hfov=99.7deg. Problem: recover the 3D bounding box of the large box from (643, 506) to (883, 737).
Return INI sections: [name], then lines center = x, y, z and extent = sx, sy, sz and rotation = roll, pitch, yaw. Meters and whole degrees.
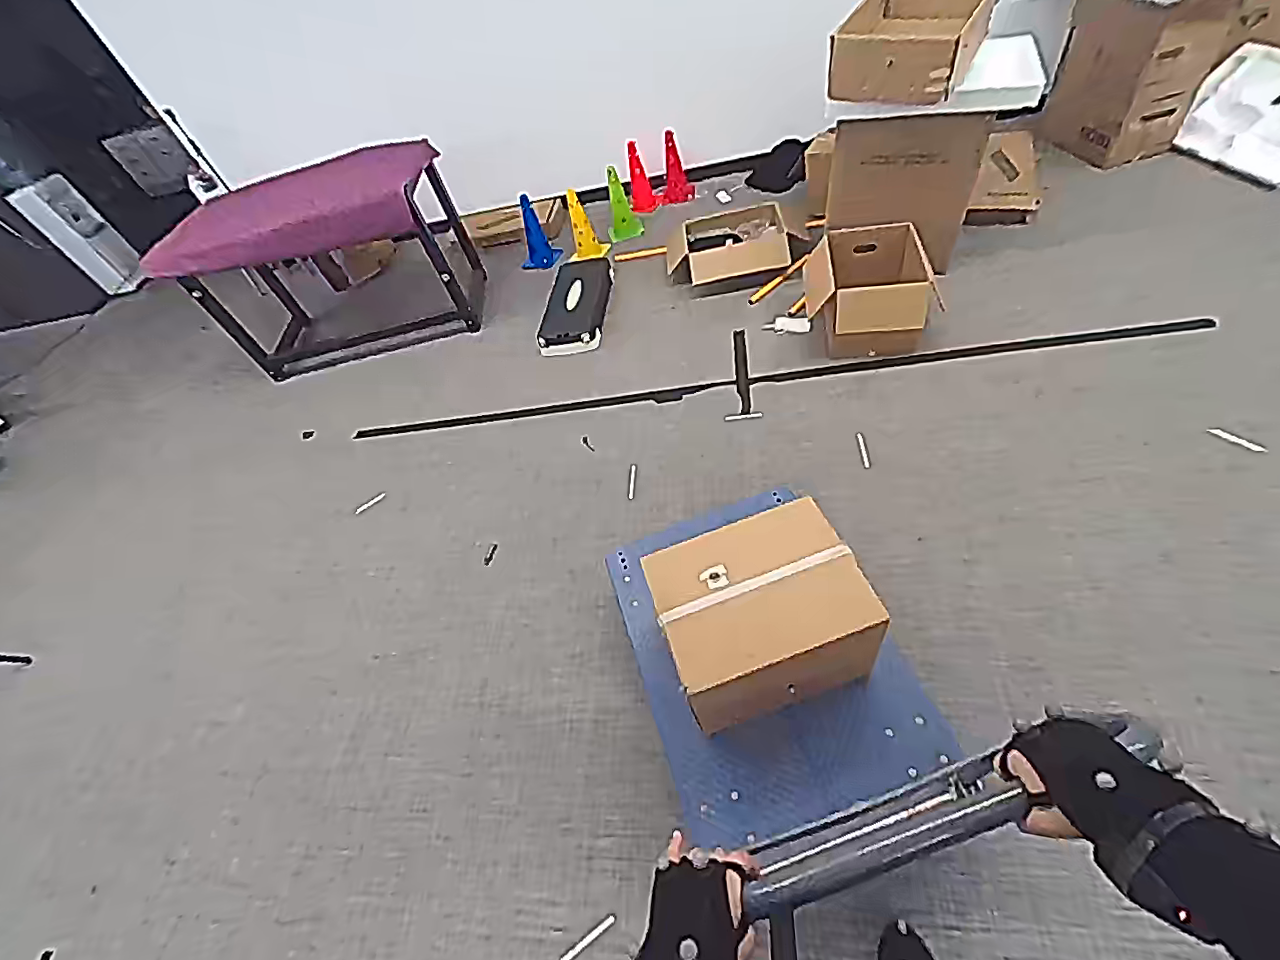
[large box]
center = 0.265, 0.324, 1.218
extent = 0.408, 0.320, 0.320
rotation = -21, 49, -1
